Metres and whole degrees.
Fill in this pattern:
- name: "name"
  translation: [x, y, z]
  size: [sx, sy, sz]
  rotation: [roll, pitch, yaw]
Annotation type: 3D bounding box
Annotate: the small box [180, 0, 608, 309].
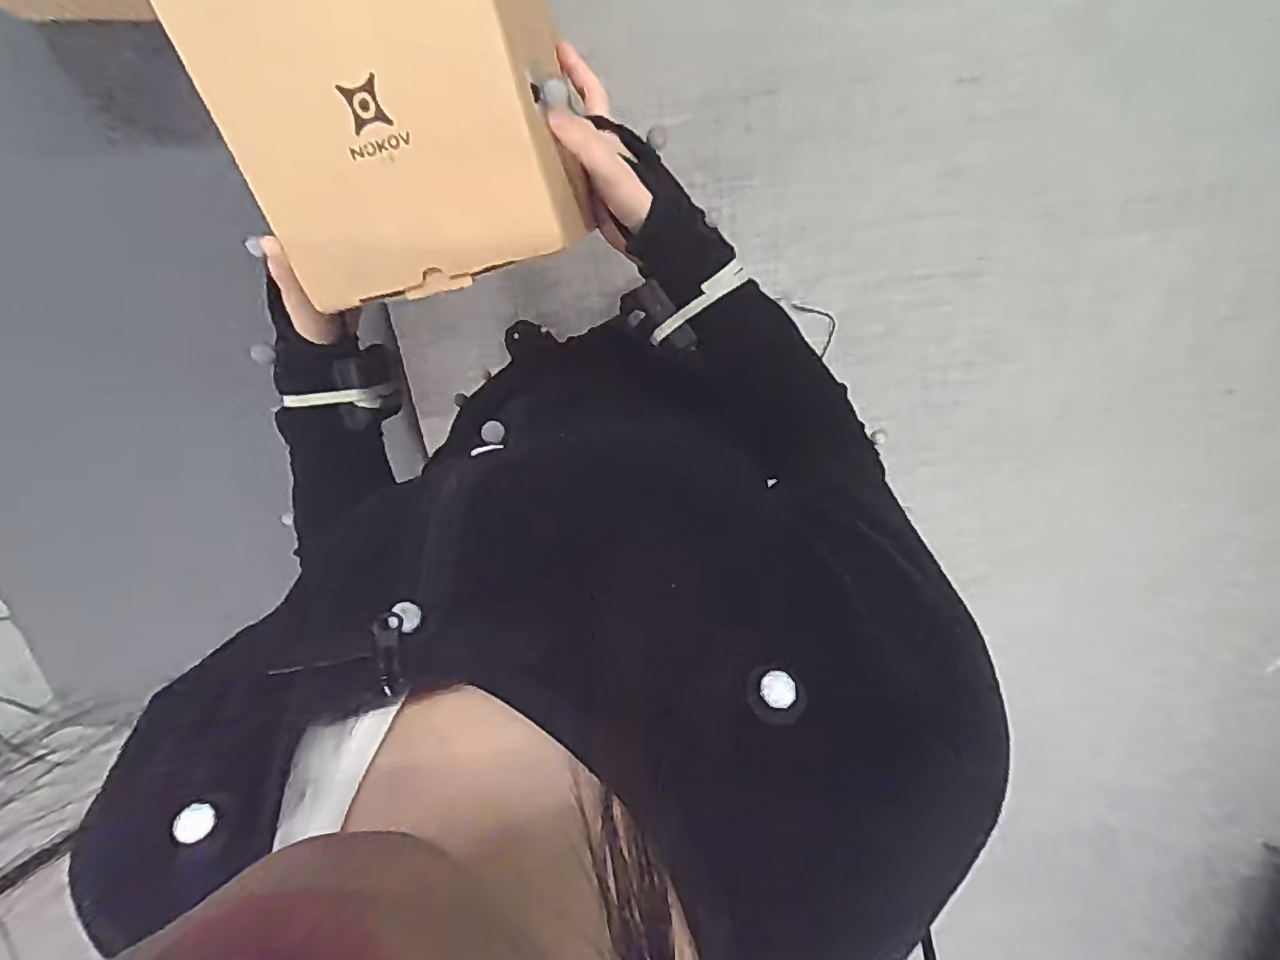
- name: "small box"
  translation: [-0.122, -0.229, 0.343]
  size: [0.168, 0.176, 0.179]
  rotation: [-10, 120, 8]
